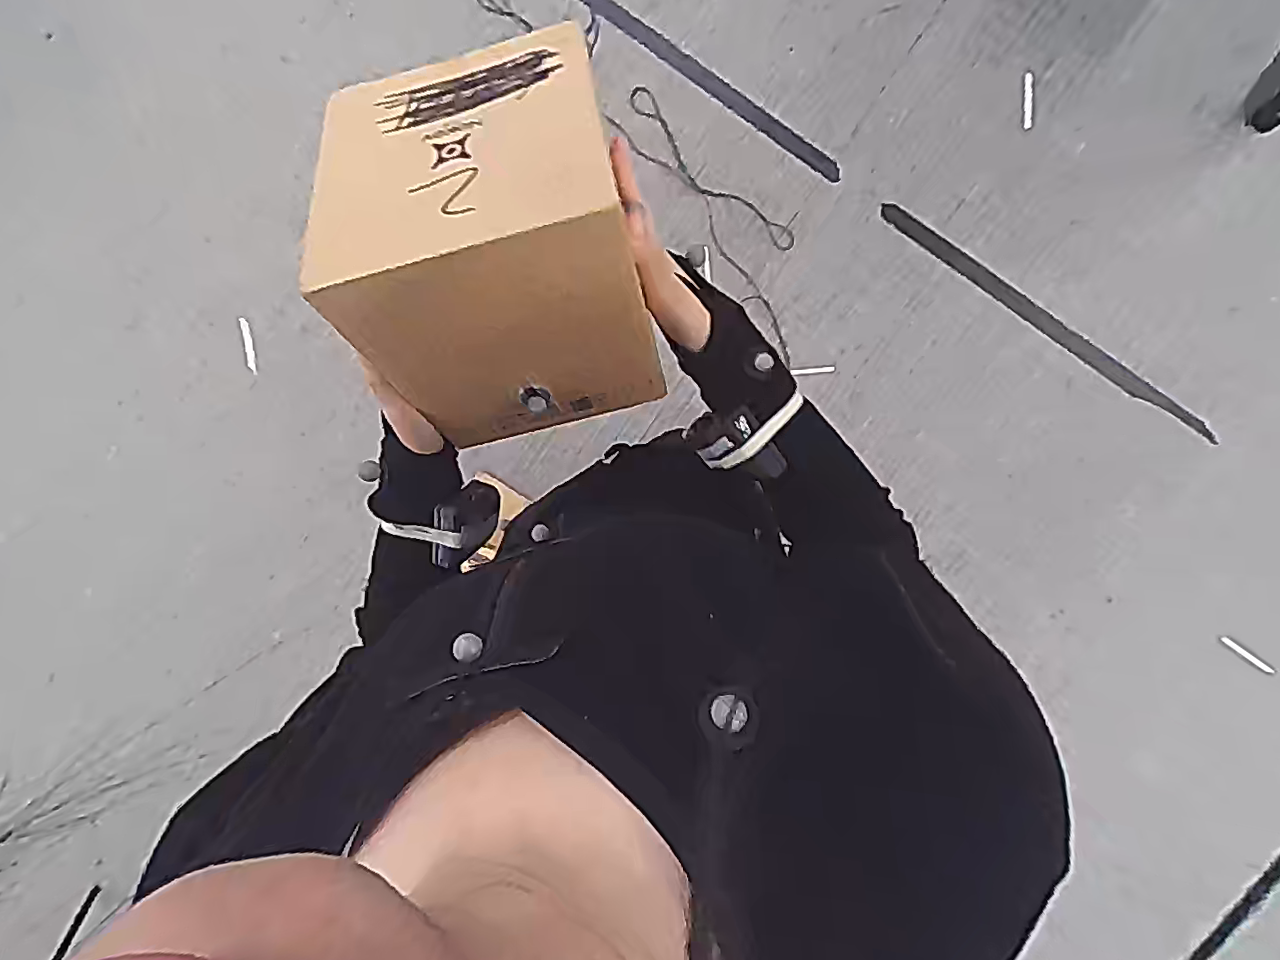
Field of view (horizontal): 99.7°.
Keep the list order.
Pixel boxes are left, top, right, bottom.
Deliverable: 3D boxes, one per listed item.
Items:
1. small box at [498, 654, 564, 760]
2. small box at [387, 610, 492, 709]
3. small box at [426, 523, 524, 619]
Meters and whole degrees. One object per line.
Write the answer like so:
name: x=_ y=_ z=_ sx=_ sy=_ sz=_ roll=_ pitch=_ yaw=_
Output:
small box: x=-0.322 y=0.597 z=1.446 sx=0.179 sy=0.176 sz=0.168 roll=29 pitch=94 yaw=0
small box: x=-0.532 y=0.470 z=1.455 sx=0.179 sy=0.176 sz=0.168 roll=29 pitch=95 yaw=1
small box: x=-0.427 y=0.231 z=1.434 sx=0.168 sy=0.176 sz=0.179 roll=30 pitch=94 yaw=1
